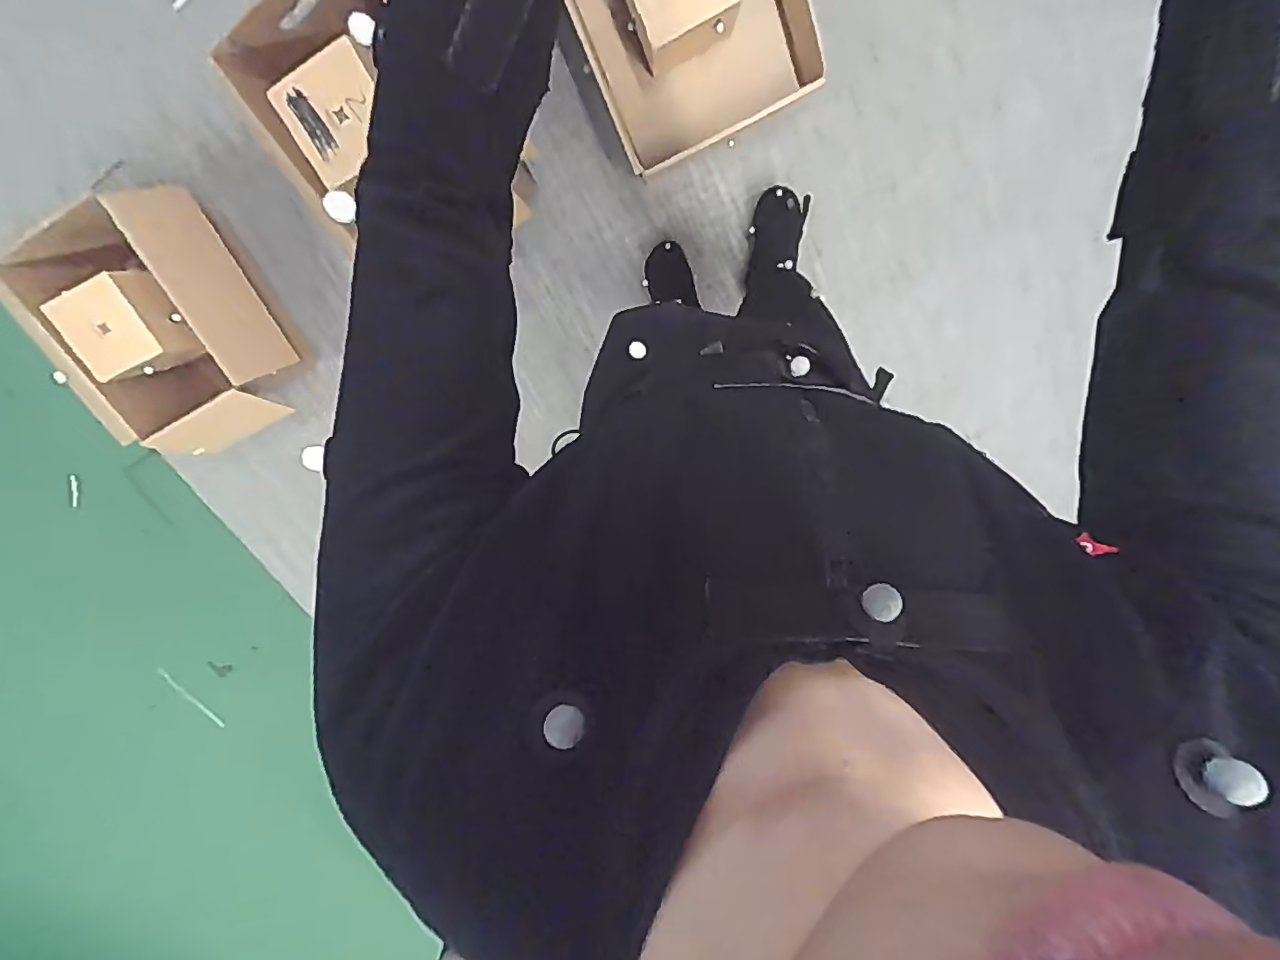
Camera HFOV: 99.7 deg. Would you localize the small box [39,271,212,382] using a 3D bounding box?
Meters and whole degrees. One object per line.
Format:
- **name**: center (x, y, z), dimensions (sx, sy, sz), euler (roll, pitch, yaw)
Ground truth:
- **small box**: center (-1.063, -0.330, 1.142), dimensions (0.179, 0.176, 0.168), euler (-21, 110, 10)
